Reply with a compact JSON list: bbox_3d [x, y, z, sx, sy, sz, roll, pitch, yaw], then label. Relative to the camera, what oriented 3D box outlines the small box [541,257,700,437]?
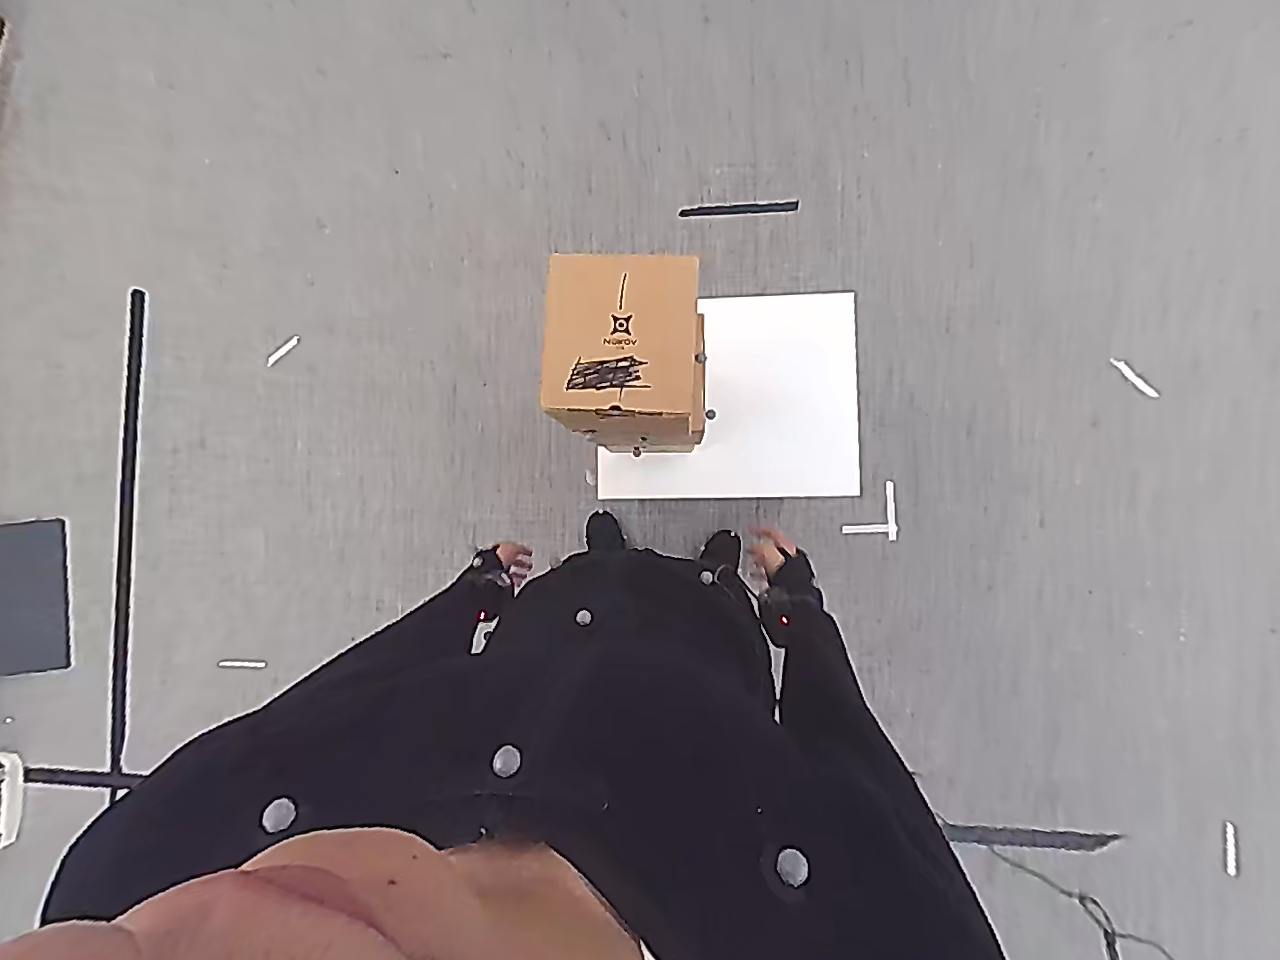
[{"bbox_3d":[-0.014,-0.150,0.661,0.168,0.176,0.179,3,87,5],"label":"small box"}]

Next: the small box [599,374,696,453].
[{"bbox_3d":[0.018,-0.141,0.989,0.168,0.176,0.179,0,87,4],"label":"small box"}]
